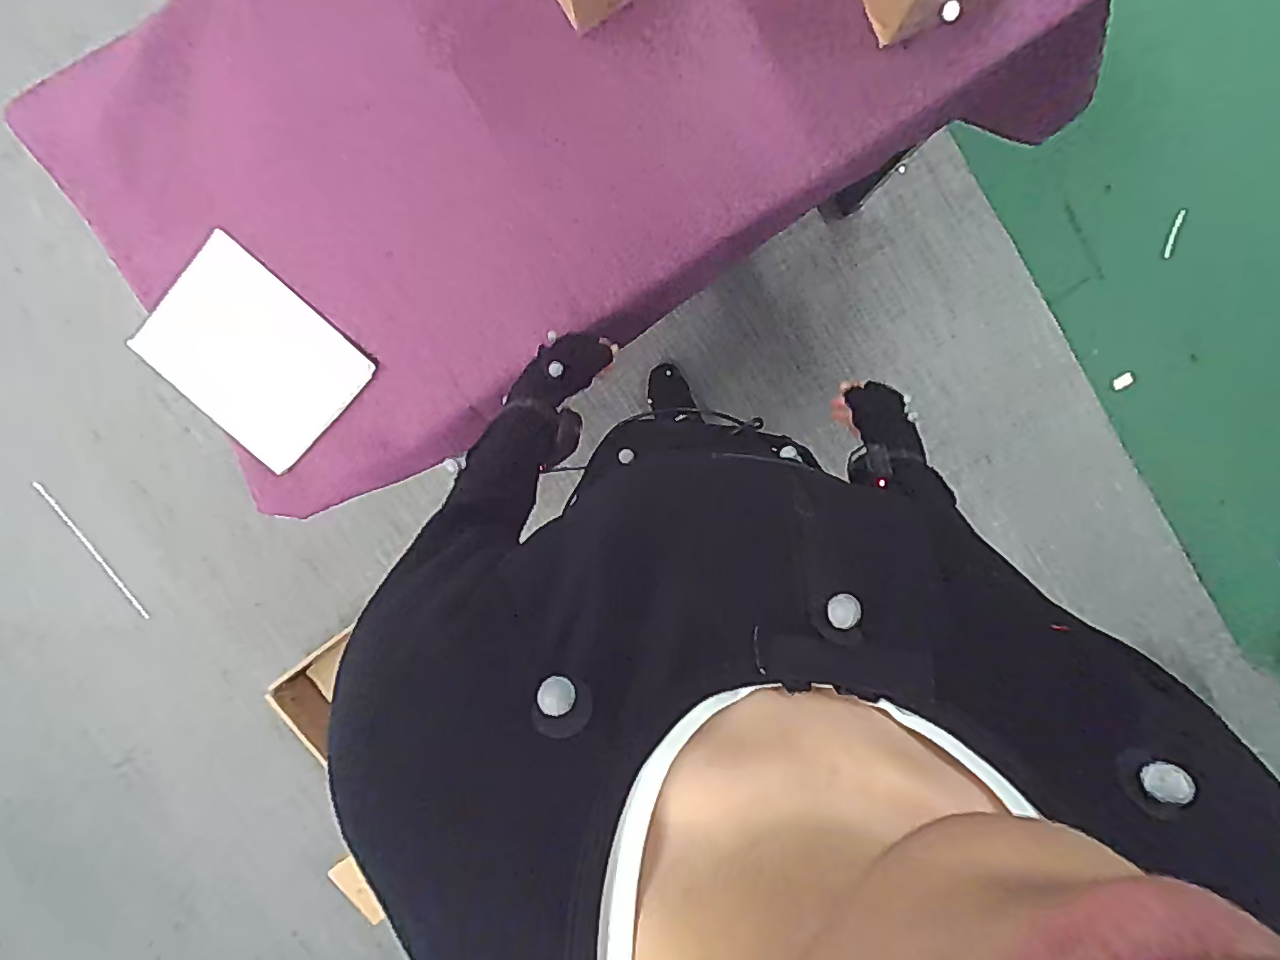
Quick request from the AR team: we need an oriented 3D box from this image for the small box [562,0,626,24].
[{"bbox_3d":[-0.050,-0.644,0.557,0.168,0.176,0.179,-31,97,5],"label":"small box"}]
